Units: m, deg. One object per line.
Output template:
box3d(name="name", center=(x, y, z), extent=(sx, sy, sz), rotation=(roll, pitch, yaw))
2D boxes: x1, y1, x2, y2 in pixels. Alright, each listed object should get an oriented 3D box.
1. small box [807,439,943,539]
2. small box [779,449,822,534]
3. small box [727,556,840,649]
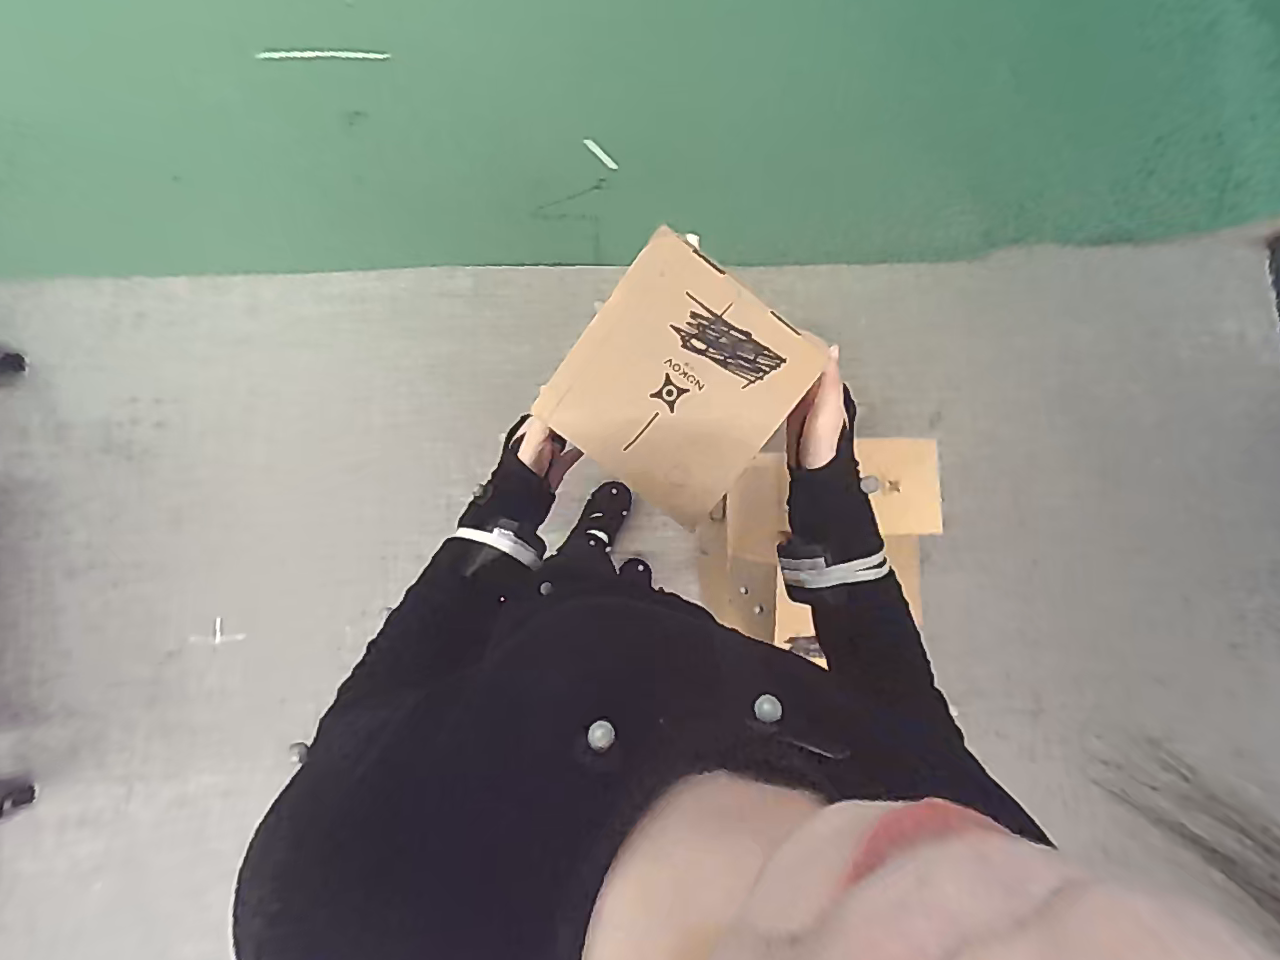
box3d(name="small box", center=(0.420, 0.021, 0.986), extent=(0.179, 0.176, 0.168), rotation=(1, 85, -3))
box3d(name="small box", center=(0.404, 0.031, 1.149), extent=(0.179, 0.176, 0.168), rotation=(2, 85, -5))
box3d(name="small box", center=(0.291, 0.246, 1.118), extent=(0.179, 0.176, 0.168), rotation=(3, 85, -5))
